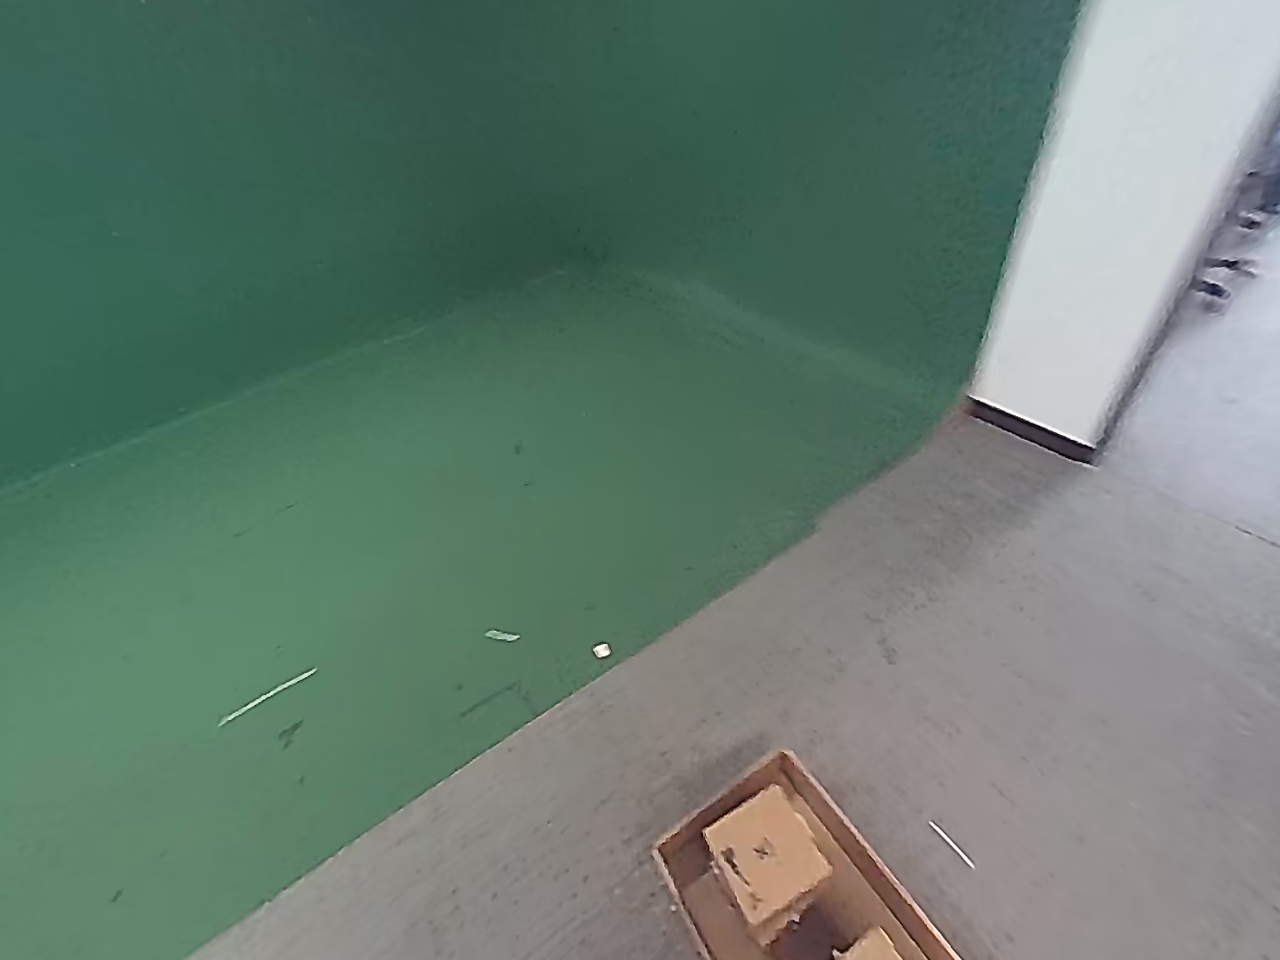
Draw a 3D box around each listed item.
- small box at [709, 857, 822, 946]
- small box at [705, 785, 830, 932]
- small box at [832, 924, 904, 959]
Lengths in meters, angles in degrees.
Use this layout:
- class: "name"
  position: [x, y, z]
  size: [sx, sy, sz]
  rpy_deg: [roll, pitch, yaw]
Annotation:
- class: "small box"
  position: [0.272, 0.871, 1.182]
  size: [0.179, 0.176, 0.168]
  rpy_deg: [-29, 47, -17]
- class: "small box"
  position: [0.245, 0.750, 1.072]
  size: [0.179, 0.176, 0.168]
  rpy_deg: [-23, 44, -13]
- class: "small box"
  position: [0.382, 0.893, 0.897]
  size: [0.179, 0.176, 0.168]
  rpy_deg: [-27, 43, -15]
